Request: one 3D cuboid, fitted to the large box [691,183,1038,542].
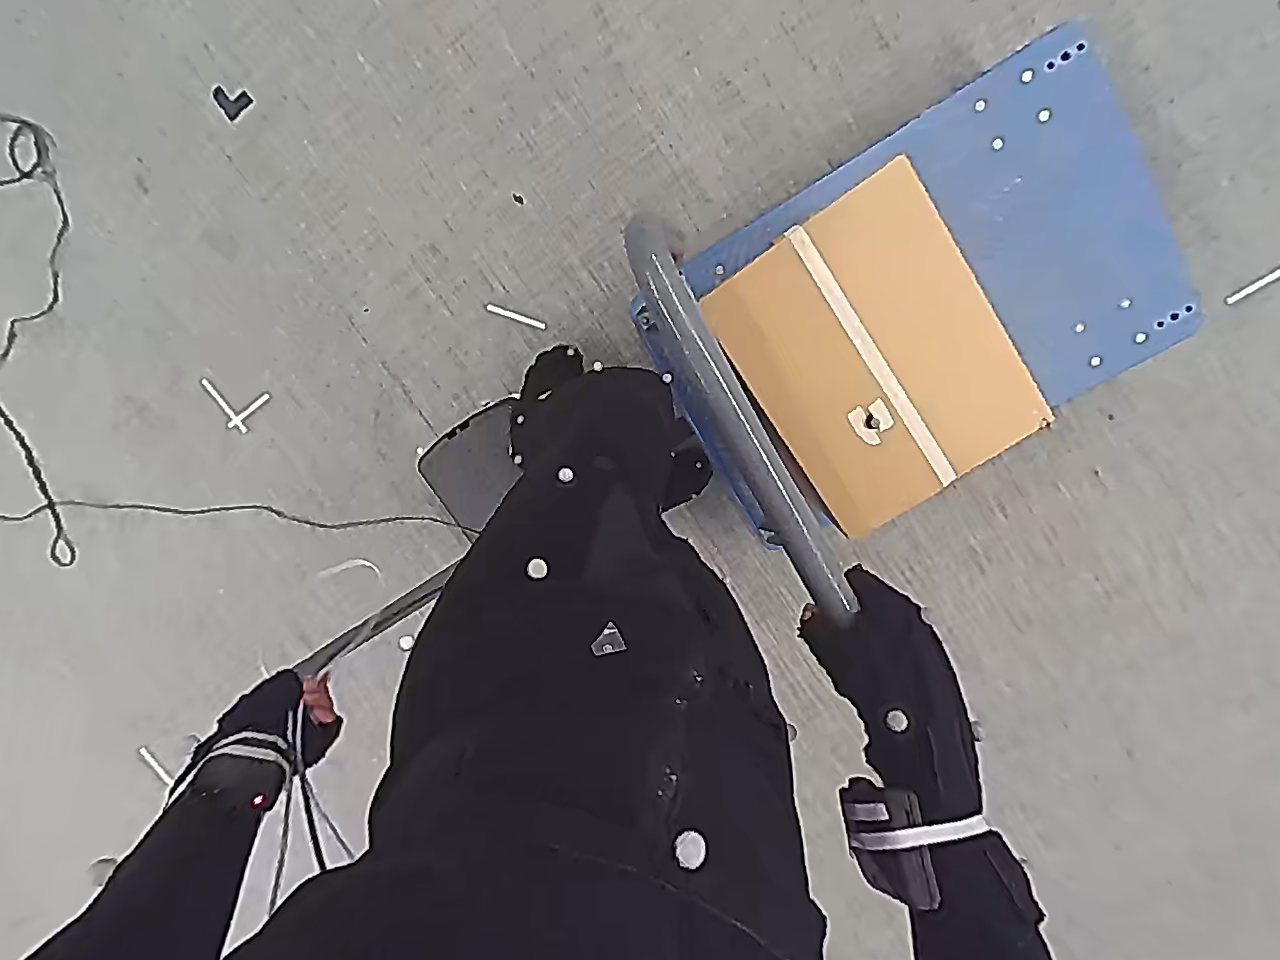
[{"bbox_3d":[0.325,-0.178,0.894,0.320,0.320,0.408,-34,98,10],"label":"large box"}]
